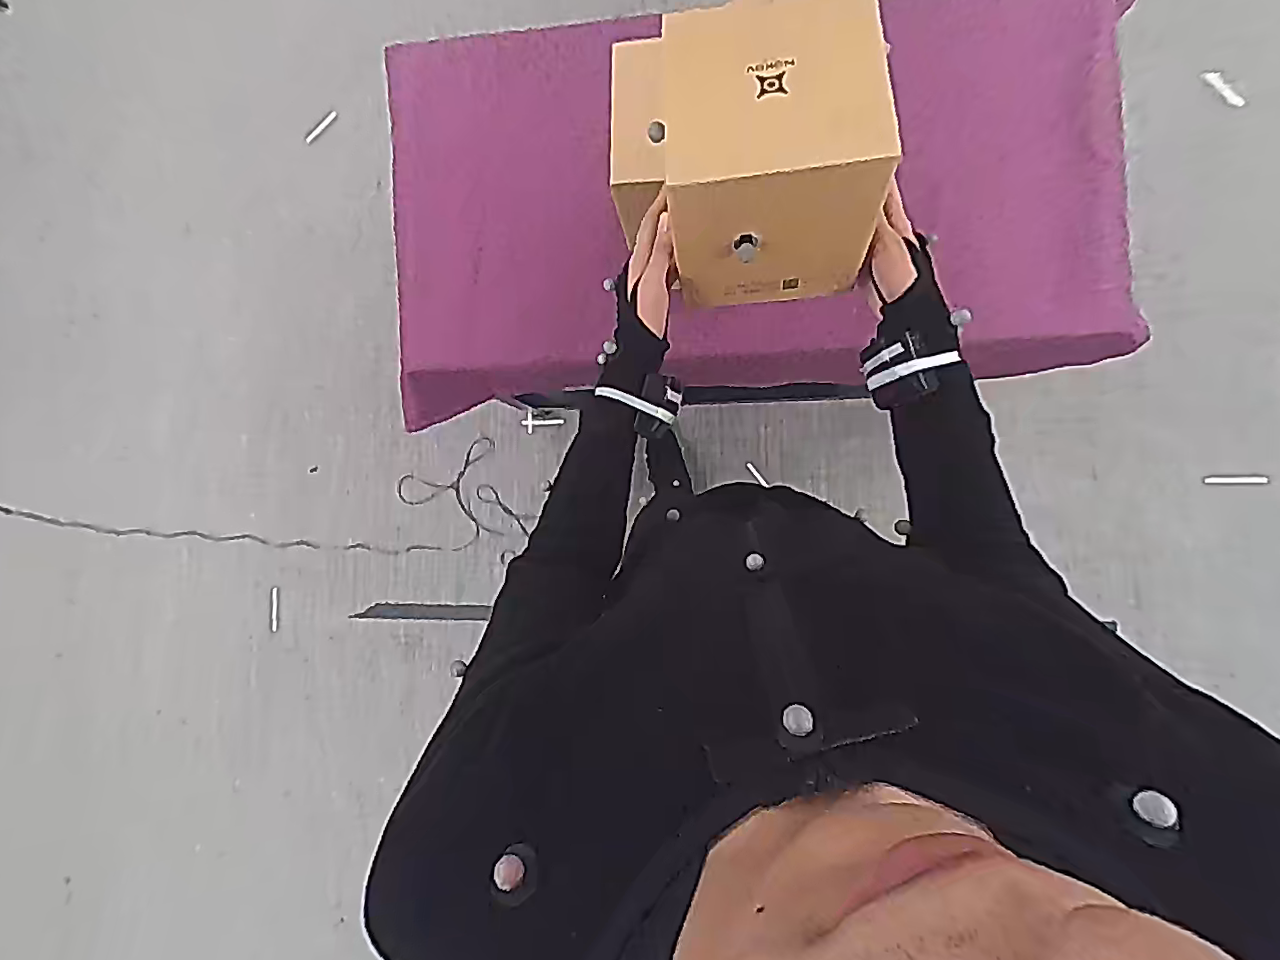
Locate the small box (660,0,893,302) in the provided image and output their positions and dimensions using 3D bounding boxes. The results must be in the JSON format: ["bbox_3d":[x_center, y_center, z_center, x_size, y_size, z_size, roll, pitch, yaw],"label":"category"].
[{"bbox_3d":[0.111,-0.277,0.484,0.168,0.176,0.179,-3,74,9],"label":"small box"}]

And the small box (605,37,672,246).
[{"bbox_3d":[0.058,-0.411,0.681,0.179,0.176,0.168,1,89,6],"label":"small box"}]
